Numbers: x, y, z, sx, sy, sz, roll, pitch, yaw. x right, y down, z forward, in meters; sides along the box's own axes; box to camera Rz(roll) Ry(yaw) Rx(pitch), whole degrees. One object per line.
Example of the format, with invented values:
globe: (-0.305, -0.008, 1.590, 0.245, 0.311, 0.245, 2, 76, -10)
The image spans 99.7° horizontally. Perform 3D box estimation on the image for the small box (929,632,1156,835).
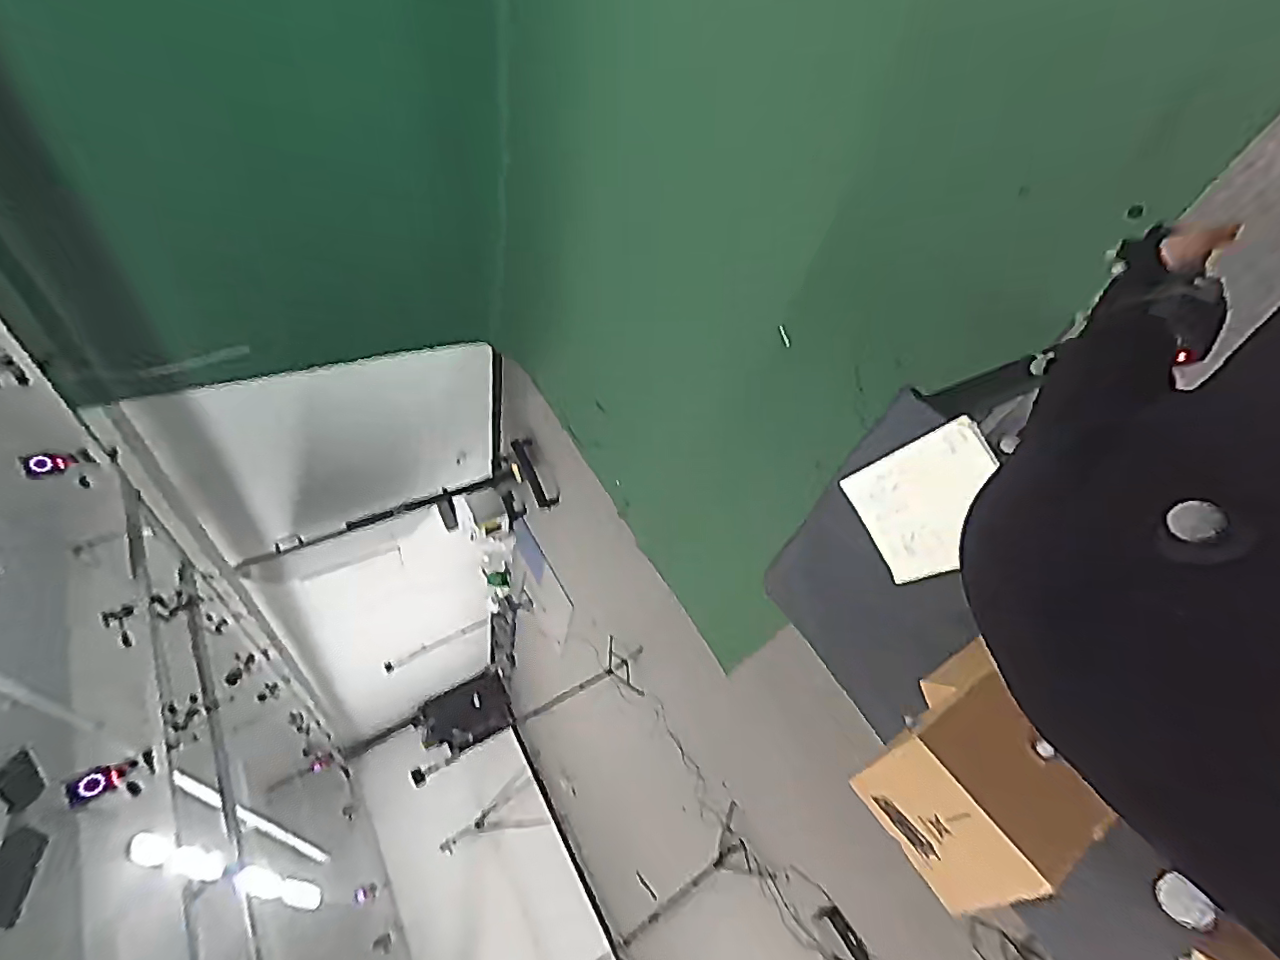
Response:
small box: (0.540, 0.320, 0.731, 0.168, 0.176, 0.179, -26, 86, 61)

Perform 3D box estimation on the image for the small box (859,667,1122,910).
small box: (0.407, 0.359, 0.641, 0.168, 0.176, 0.179, 49, 145, 31)

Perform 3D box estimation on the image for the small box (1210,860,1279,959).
small box: (0.724, 0.556, 0.561, 0.168, 0.176, 0.179, 13, 119, 57)
